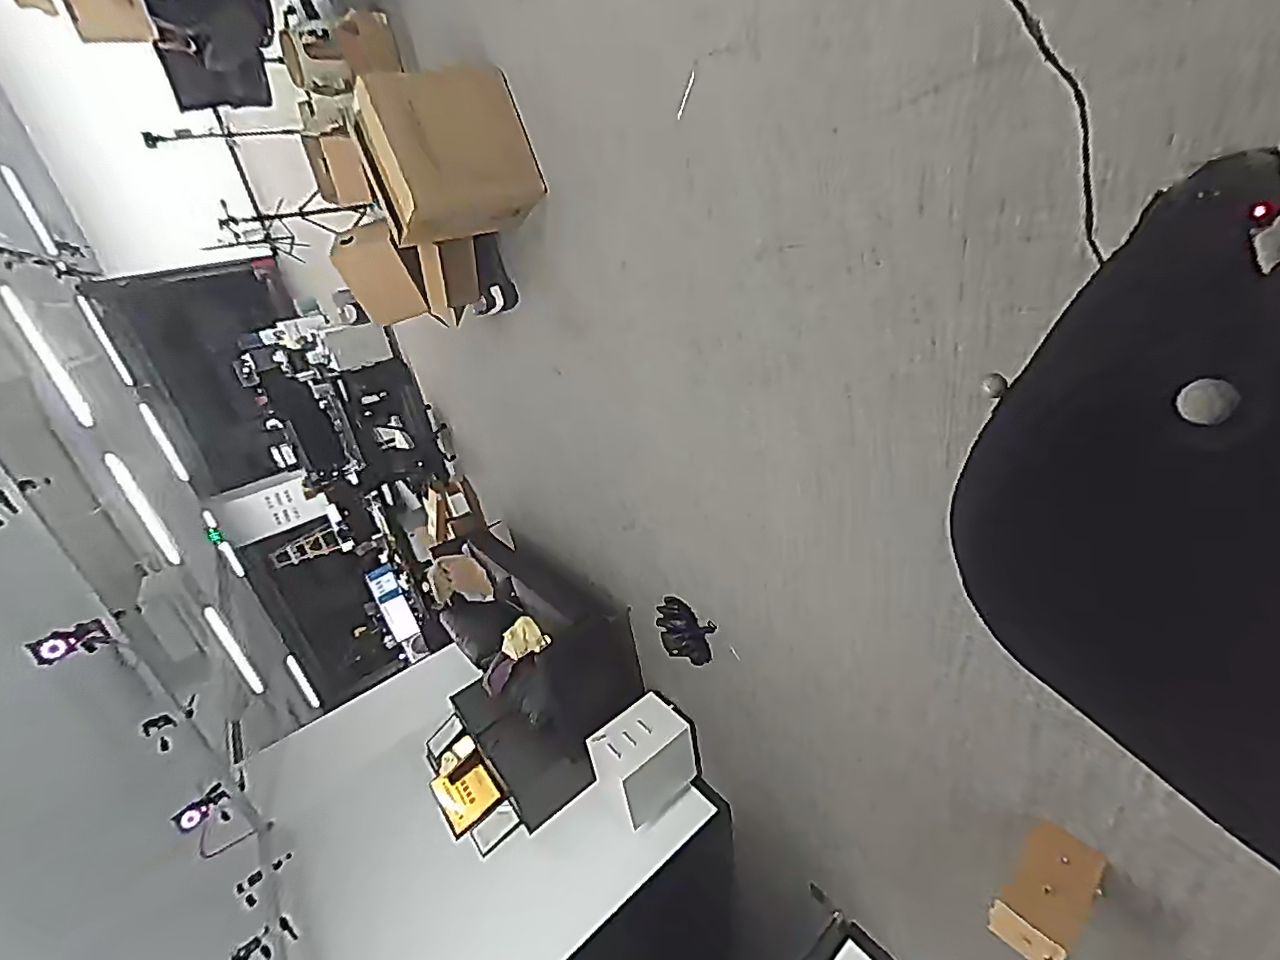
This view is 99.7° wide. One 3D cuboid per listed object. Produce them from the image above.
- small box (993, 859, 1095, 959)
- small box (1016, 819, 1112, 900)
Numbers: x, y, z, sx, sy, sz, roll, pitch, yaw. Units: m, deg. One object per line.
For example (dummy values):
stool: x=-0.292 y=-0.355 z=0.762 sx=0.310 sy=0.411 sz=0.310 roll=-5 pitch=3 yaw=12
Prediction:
small box: x=1.177 y=1.259 z=1.579 sx=0.179 sy=0.176 sz=0.168 roll=26 pitch=133 yaw=47
small box: x=1.299 y=1.188 z=1.662 sx=0.179 sy=0.176 sz=0.168 roll=23 pitch=131 yaw=50
